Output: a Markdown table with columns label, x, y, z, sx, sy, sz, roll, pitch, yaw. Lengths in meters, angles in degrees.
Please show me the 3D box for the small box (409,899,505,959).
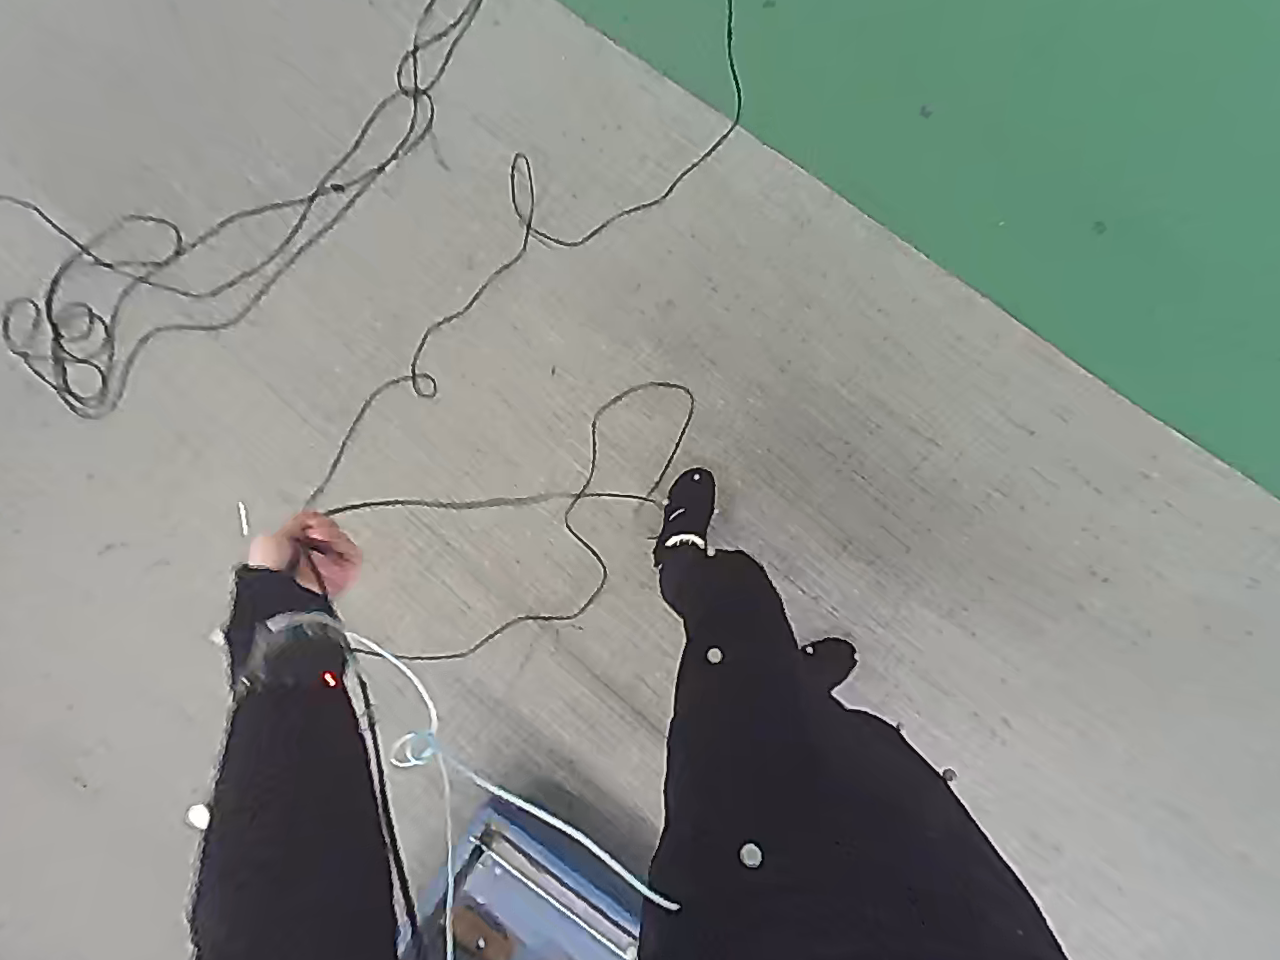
| label | x | y | z | sx | sy | sz | roll | pitch | yaw |
| --- | --- | --- | --- | --- | --- | --- | --- | --- | --- |
| small box | -0.415 | 1.060 | 1.145 | 0.168 | 0.176 | 0.179 | 36 | 92 | 6 |
